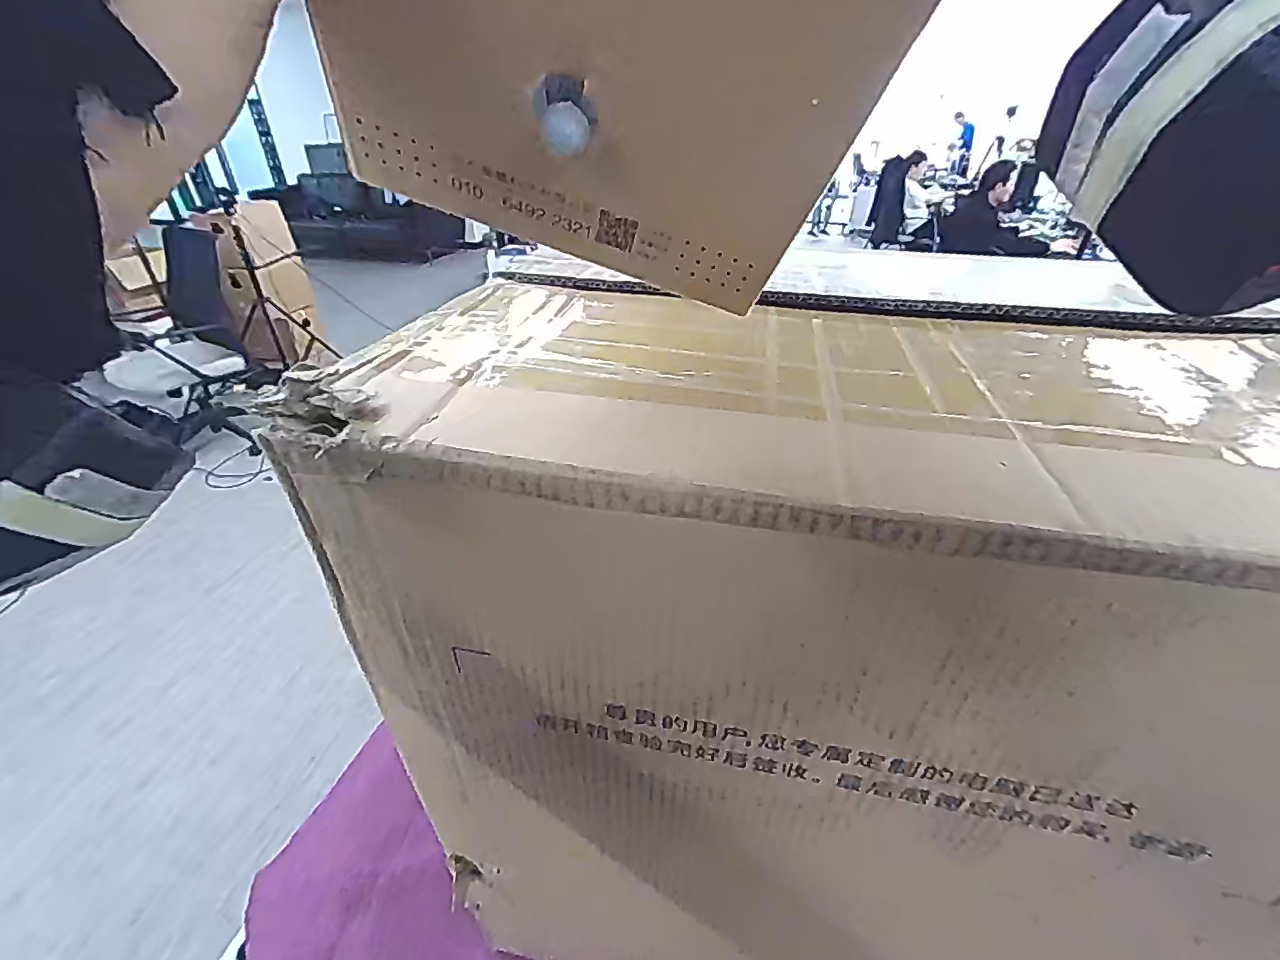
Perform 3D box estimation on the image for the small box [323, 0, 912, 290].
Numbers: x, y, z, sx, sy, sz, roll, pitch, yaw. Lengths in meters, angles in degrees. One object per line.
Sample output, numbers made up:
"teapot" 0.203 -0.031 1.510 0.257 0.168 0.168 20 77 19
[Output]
"small box" 0.002 -0.203 0.178 0.168 0.176 0.179 17 63 -6
